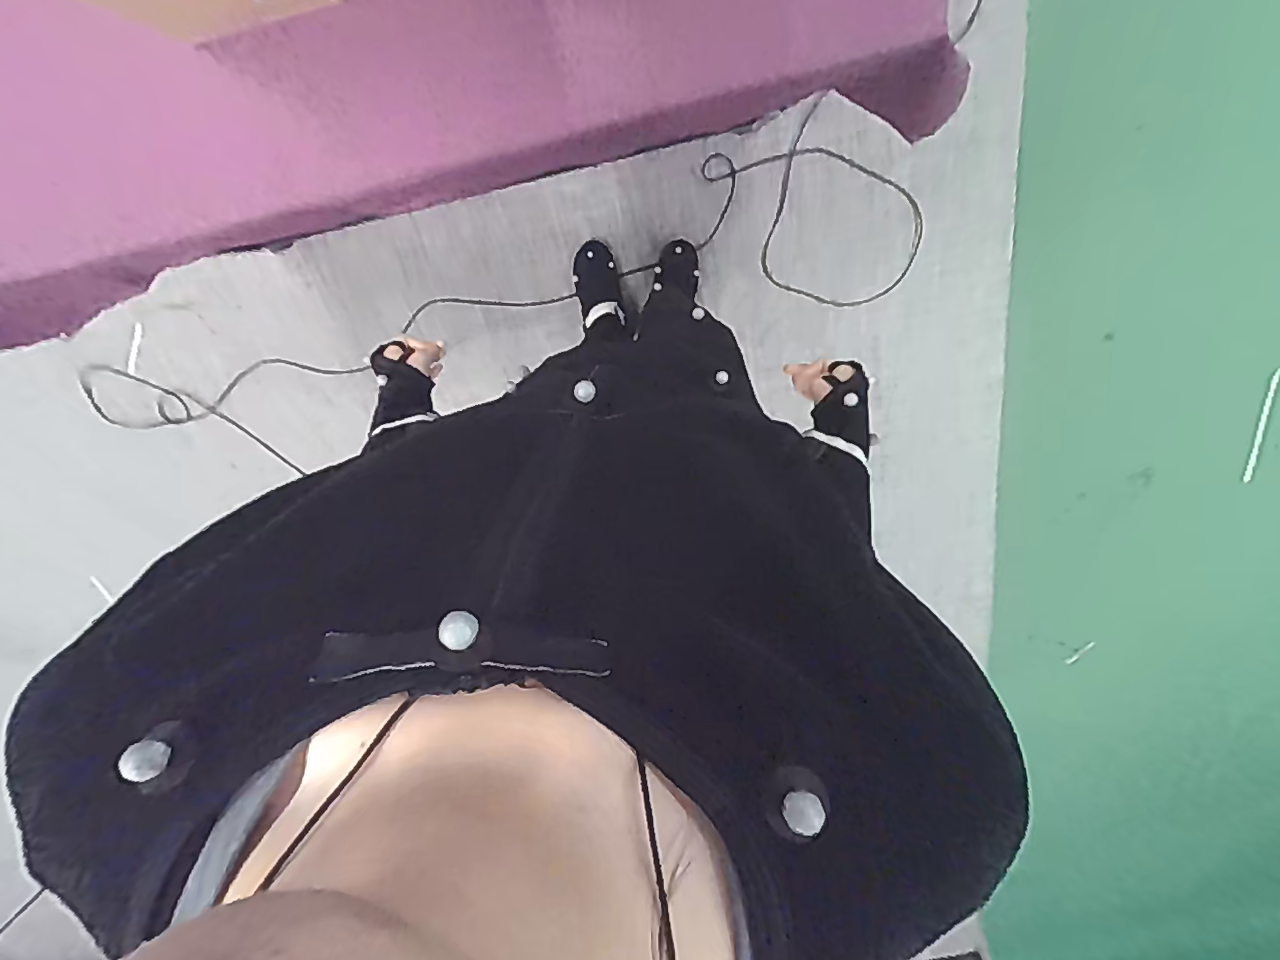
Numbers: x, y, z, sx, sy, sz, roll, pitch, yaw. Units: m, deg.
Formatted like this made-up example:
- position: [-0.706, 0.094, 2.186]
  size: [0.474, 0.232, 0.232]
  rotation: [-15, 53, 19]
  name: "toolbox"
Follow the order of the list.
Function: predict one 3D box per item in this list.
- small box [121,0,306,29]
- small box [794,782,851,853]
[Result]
- position: [-0.384, -0.503, 0.431]
  size: [0.179, 0.176, 0.168]
  rotation: [-12, 115, 3]
  name: "small box"
- position: [0.738, 1.372, 2.201]
  size: [0.179, 0.176, 0.168]
  rotation: [-14, 116, 3]
  name: "small box"
